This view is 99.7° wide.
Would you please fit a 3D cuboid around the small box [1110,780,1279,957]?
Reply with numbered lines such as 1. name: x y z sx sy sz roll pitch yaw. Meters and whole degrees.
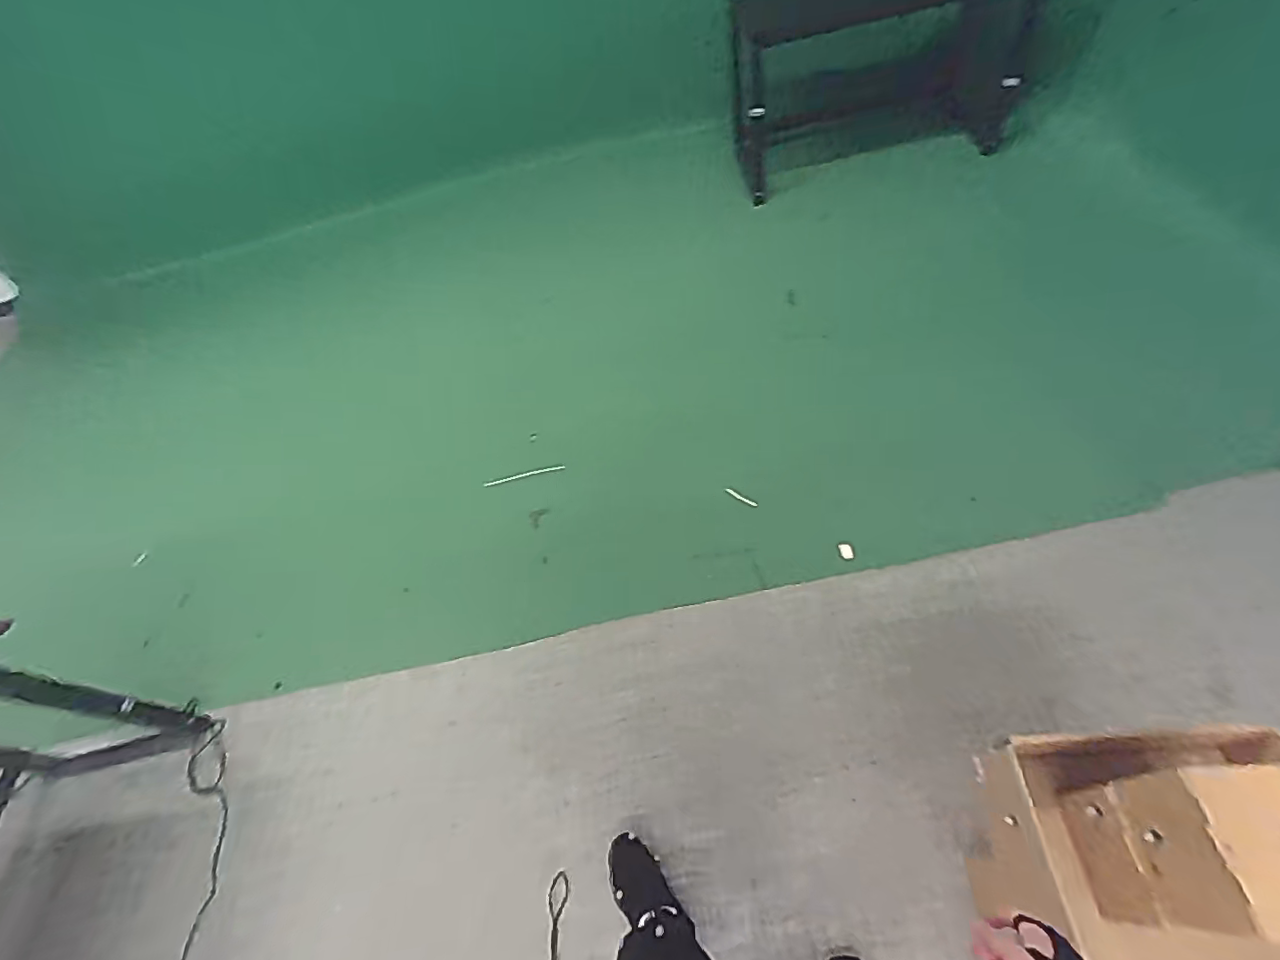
1. small box: 0.751 0.470 0.668 0.179 0.176 0.168 -5 56 8
